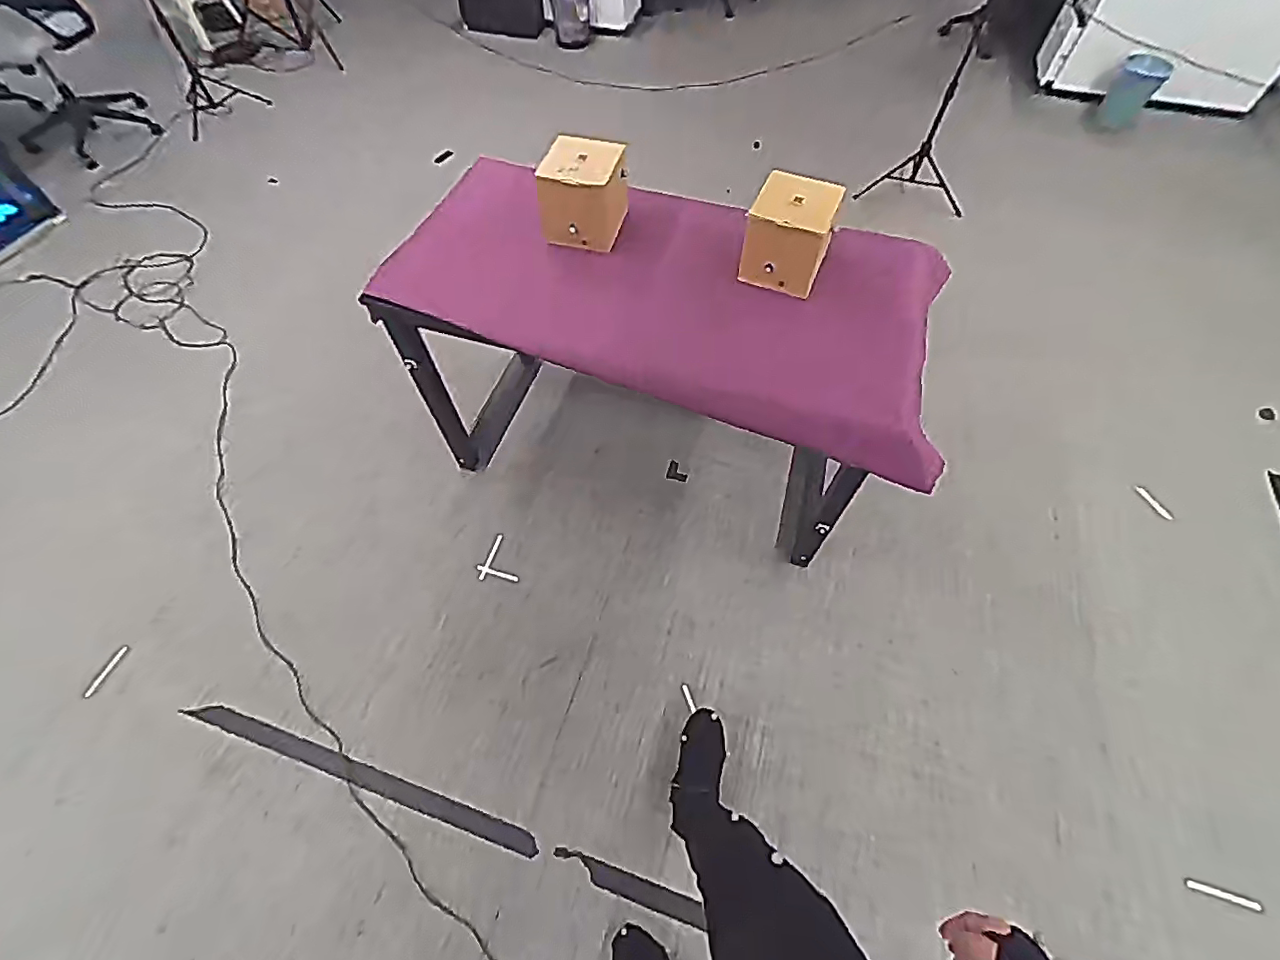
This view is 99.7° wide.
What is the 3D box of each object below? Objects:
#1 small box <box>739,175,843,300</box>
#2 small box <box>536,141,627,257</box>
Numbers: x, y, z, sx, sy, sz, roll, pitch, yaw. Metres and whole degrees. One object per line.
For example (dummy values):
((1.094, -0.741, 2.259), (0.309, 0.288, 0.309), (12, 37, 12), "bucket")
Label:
((0.331, -0.541, 1.212), (0.168, 0.176, 0.179), (21, 63, 13), "small box")
((-0.133, -0.670, 1.293), (0.168, 0.176, 0.179), (13, 60, 8), "small box")
